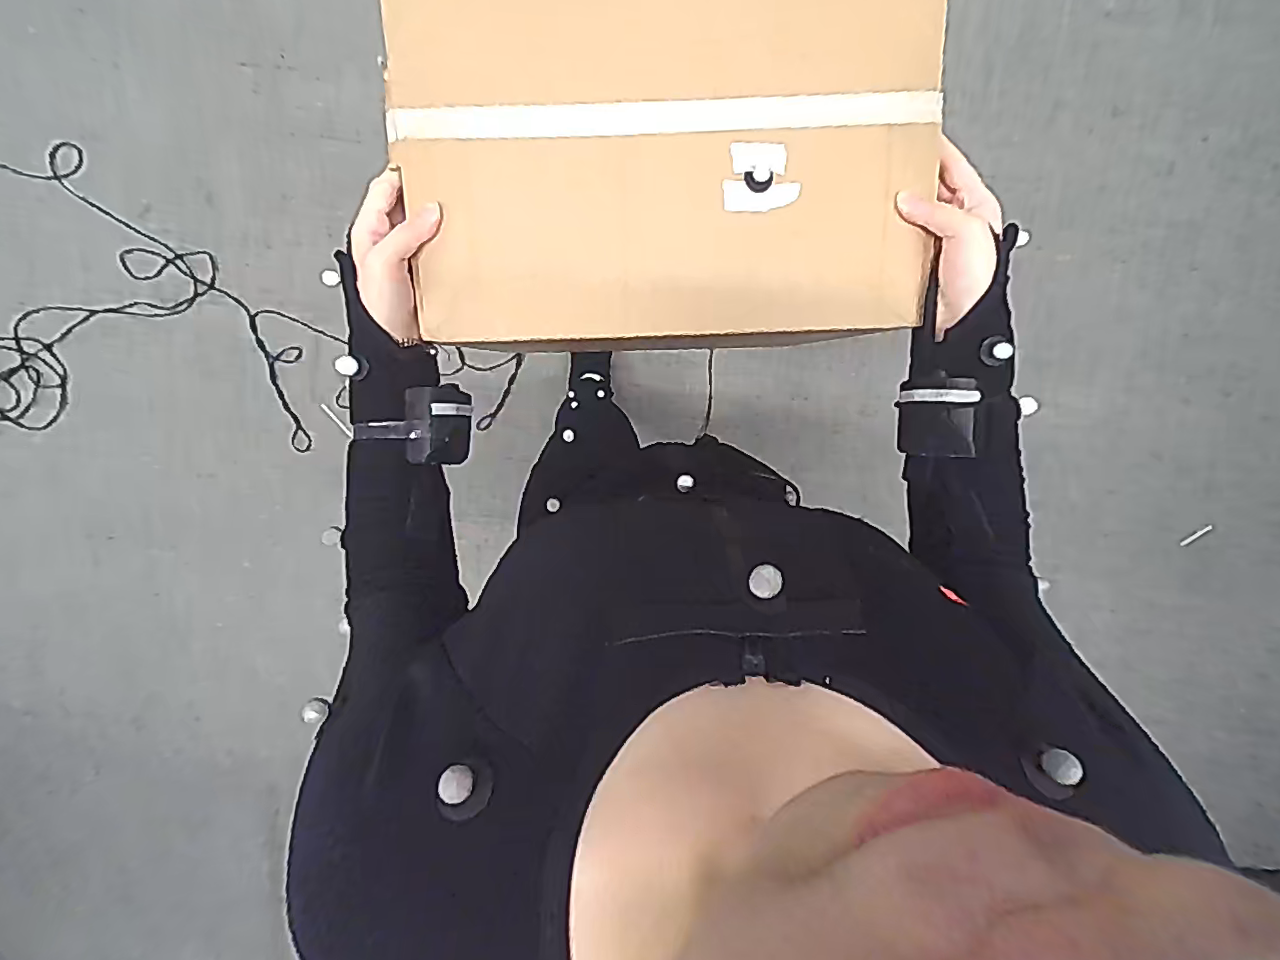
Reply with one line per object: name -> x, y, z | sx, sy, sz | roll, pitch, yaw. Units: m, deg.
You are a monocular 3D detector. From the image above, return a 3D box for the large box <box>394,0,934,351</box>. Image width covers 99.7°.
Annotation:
large box -> 0.016, -0.306, 0.557 | 0.408, 0.320, 0.320 | -3, 102, -2
